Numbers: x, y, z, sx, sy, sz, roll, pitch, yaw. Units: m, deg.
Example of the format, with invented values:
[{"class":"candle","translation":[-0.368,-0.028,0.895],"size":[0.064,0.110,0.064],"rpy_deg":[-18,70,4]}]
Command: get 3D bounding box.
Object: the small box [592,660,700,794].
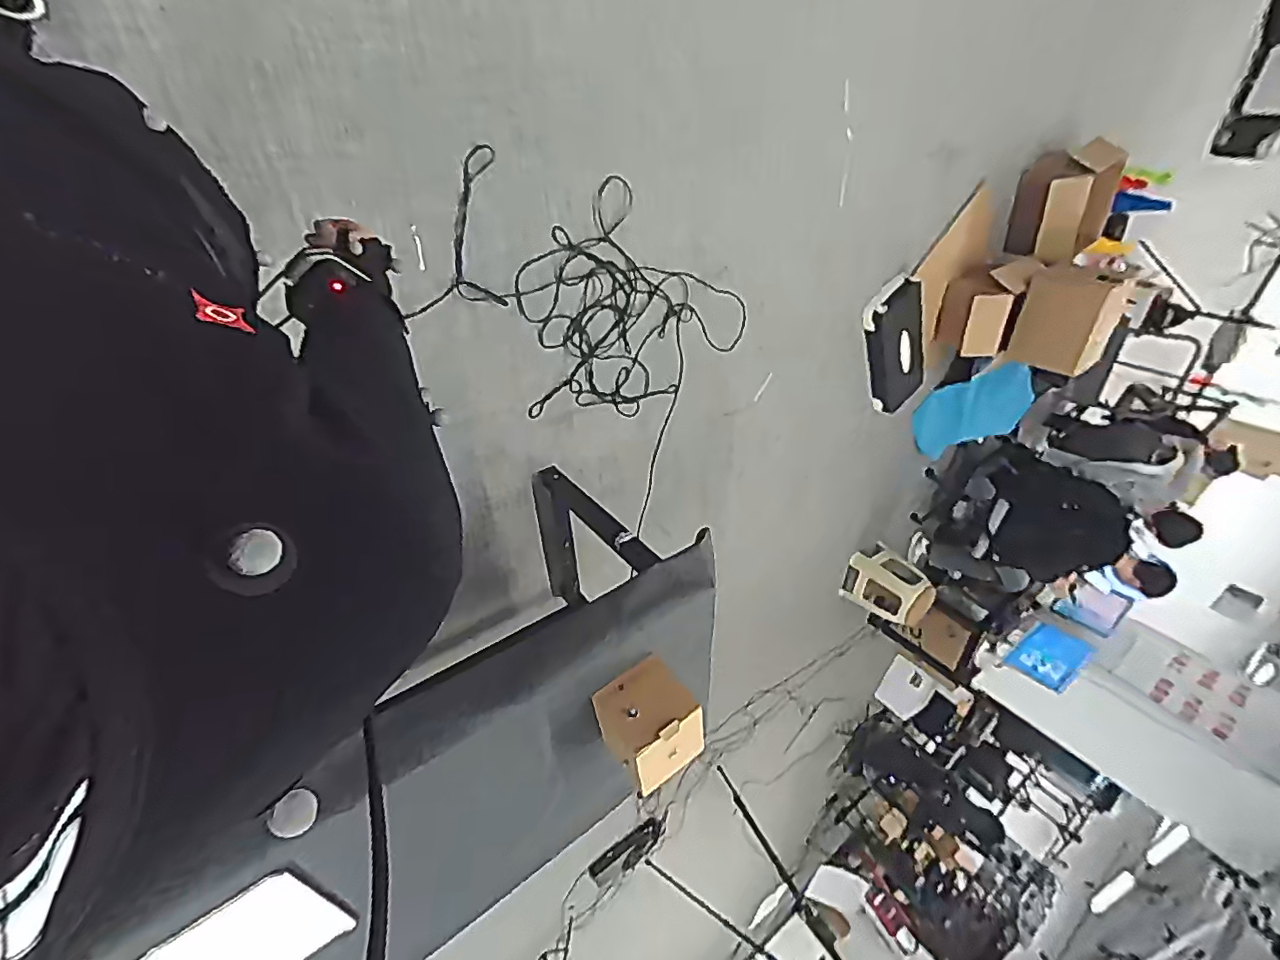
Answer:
[{"class":"small box","translation":[0.011,0.515,1.156],"size":[0.168,0.176,0.179],"rpy_deg":[-27,133,-24]}]
